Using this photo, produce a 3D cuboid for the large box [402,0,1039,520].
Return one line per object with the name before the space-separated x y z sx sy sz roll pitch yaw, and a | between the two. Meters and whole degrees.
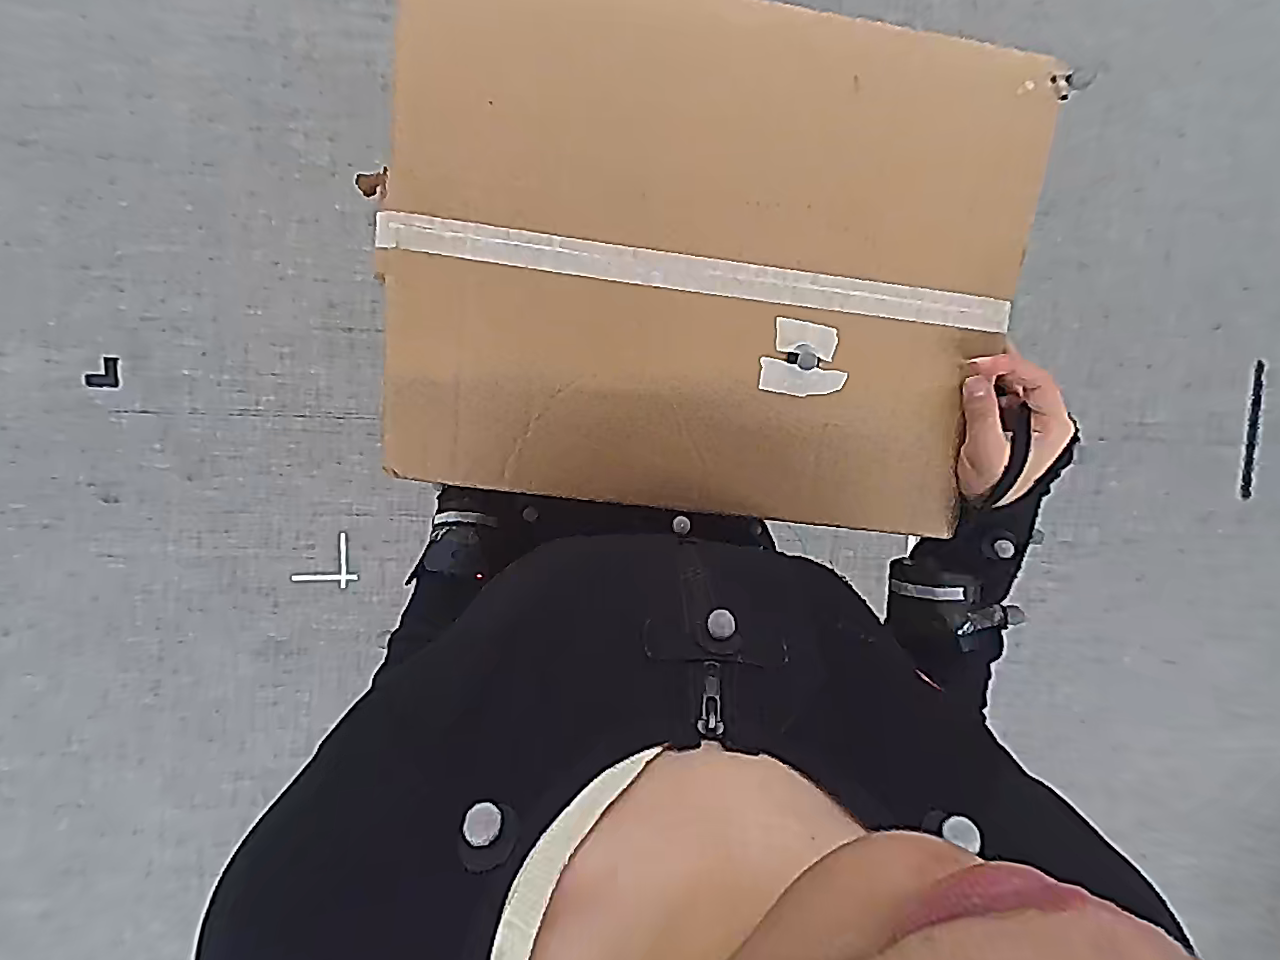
large box | 0.035 -0.163 0.504 0.408 0.320 0.320 6 102 -6
